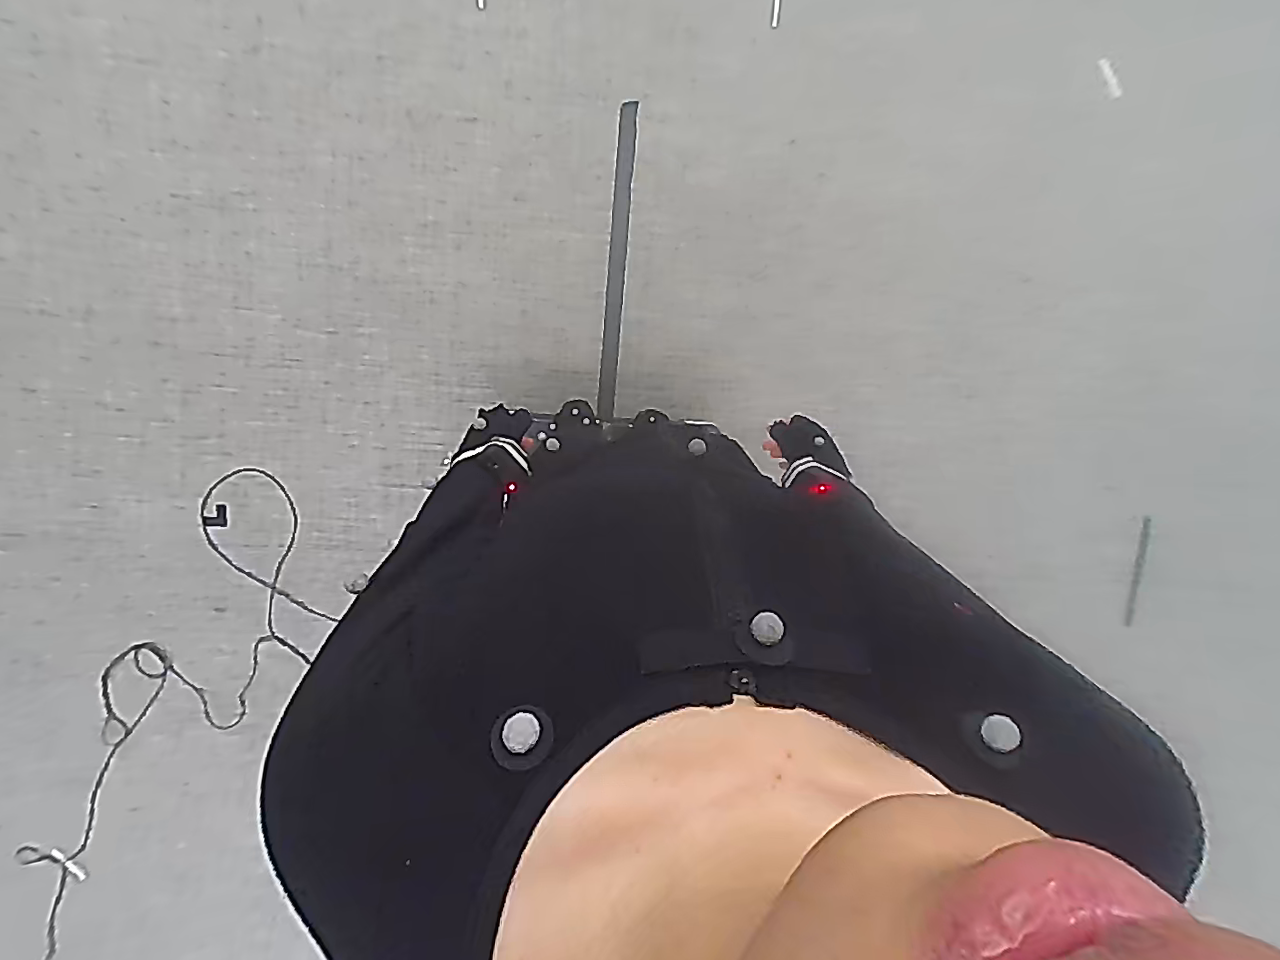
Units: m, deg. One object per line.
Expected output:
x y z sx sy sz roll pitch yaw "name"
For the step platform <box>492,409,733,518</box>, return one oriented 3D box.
-0.077 -0.049 1.567 0.684 0.204 0.286 2 99 -5 "step platform"
